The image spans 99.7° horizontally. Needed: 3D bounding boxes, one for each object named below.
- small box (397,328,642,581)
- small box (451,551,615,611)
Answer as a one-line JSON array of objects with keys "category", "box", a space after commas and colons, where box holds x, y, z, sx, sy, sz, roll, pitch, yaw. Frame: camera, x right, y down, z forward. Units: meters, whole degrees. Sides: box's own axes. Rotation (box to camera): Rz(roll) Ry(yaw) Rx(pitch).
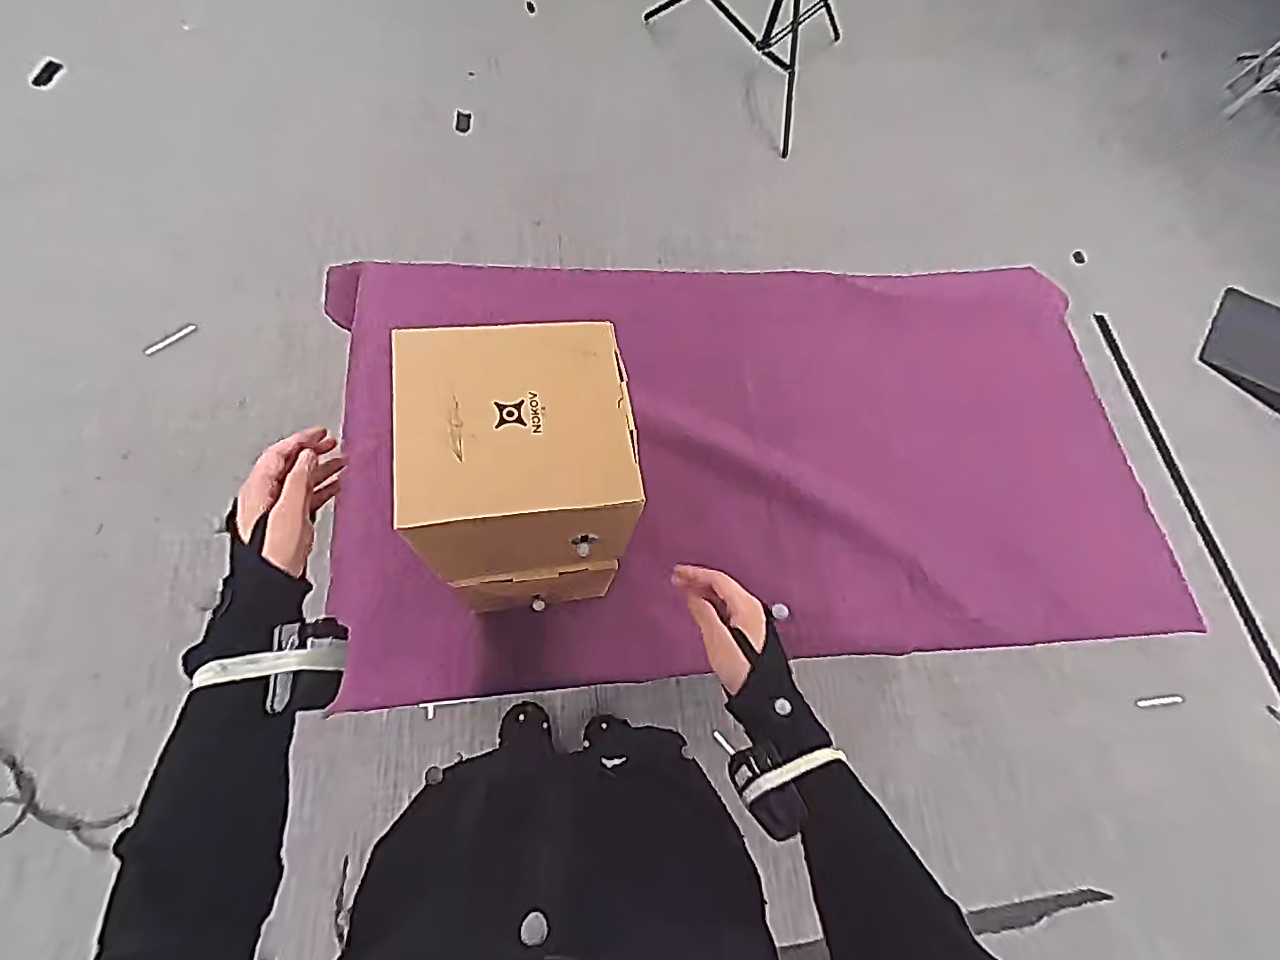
[{"category": "small box", "box": [-0.106, -0.015, 0.489, 0.179, 0.176, 0.168, -7, 68, -11]}, {"category": "small box", "box": [-0.129, 0.046, 0.637, 0.168, 0.176, 0.179, -5, 69, -11]}]
